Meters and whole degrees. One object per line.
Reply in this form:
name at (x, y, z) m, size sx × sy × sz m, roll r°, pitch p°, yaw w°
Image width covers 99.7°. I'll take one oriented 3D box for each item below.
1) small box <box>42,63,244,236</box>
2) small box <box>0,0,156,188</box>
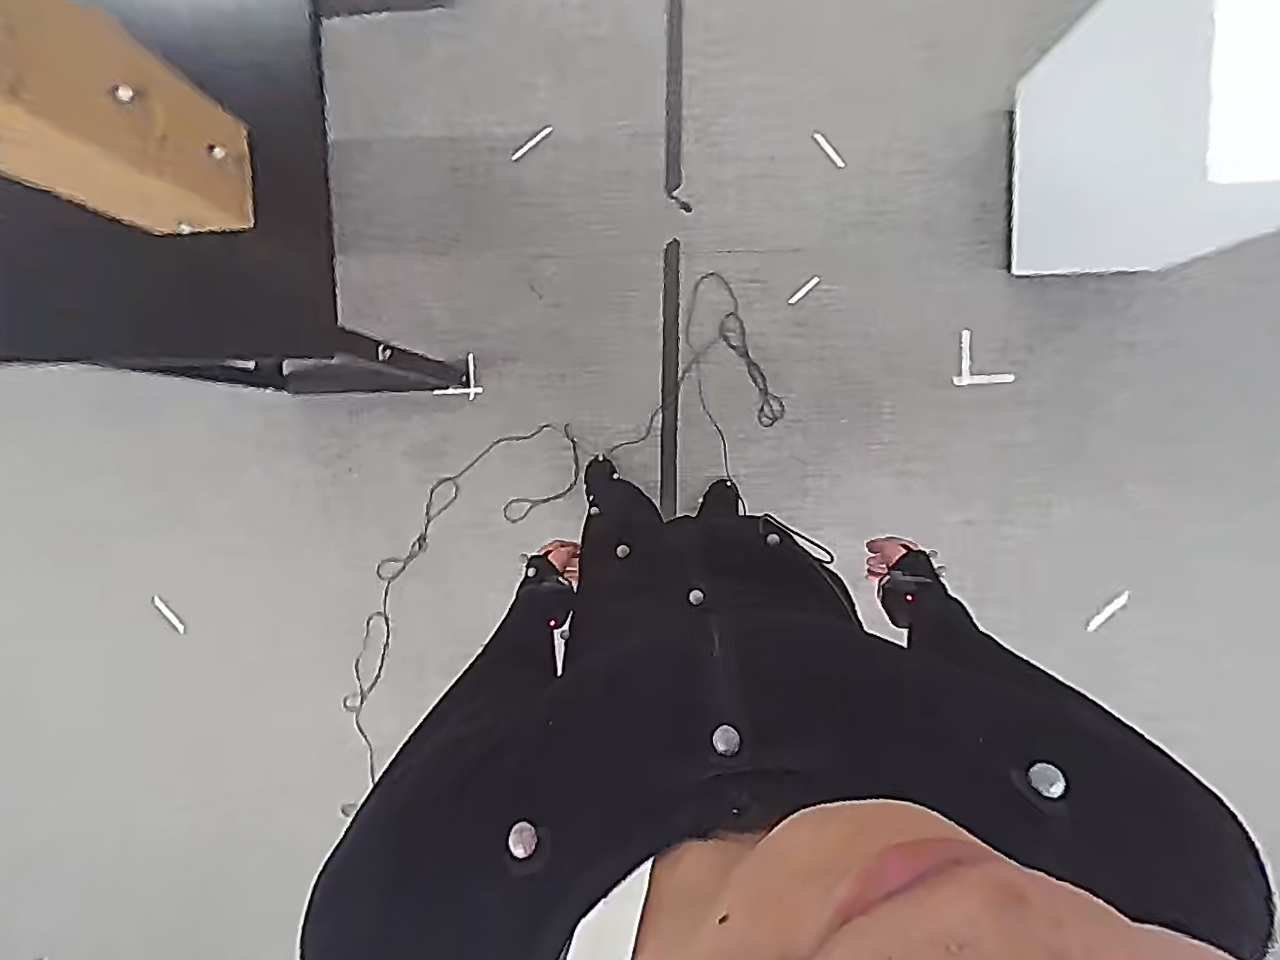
small box at (-0.737, -0.484, 0.816) m, size 0.179 × 0.176 × 0.168 m, roll -3°, pitch 94°, yaw 2°
small box at (-0.746, -0.473, 0.651) m, size 0.179 × 0.176 × 0.168 m, roll -2°, pitch 94°, yaw 2°
